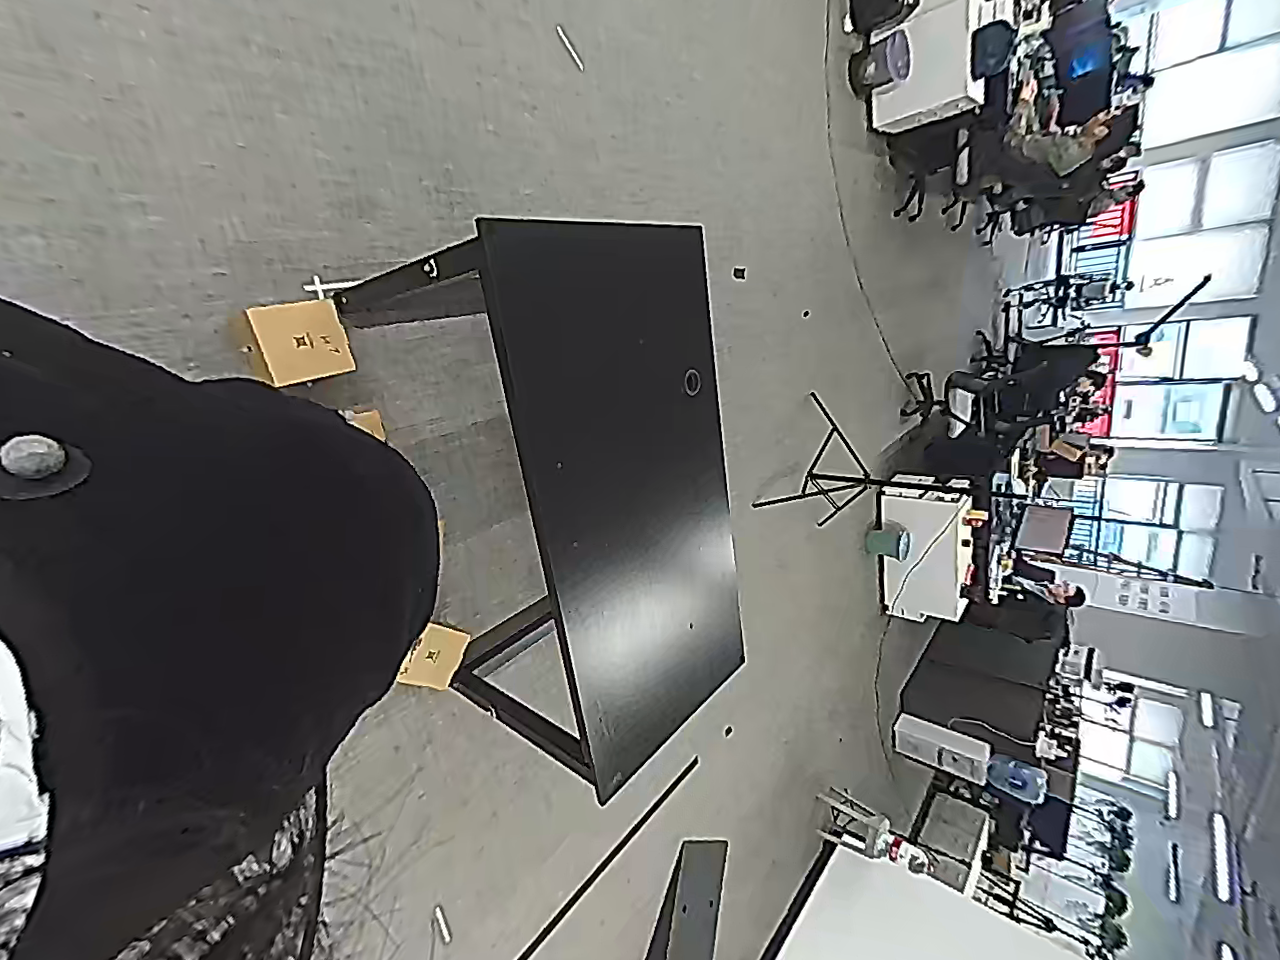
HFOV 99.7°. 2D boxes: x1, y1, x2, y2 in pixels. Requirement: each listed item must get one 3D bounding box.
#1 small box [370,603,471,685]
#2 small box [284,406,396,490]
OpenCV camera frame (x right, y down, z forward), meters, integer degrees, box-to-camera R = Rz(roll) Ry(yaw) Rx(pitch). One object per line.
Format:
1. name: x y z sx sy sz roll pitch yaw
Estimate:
1. small box: -0.627 0.464 1.542 0.179 0.176 0.168 36 69 -44
2. small box: -0.744 -0.087 1.341 0.179 0.176 0.168 -25 113 -41
